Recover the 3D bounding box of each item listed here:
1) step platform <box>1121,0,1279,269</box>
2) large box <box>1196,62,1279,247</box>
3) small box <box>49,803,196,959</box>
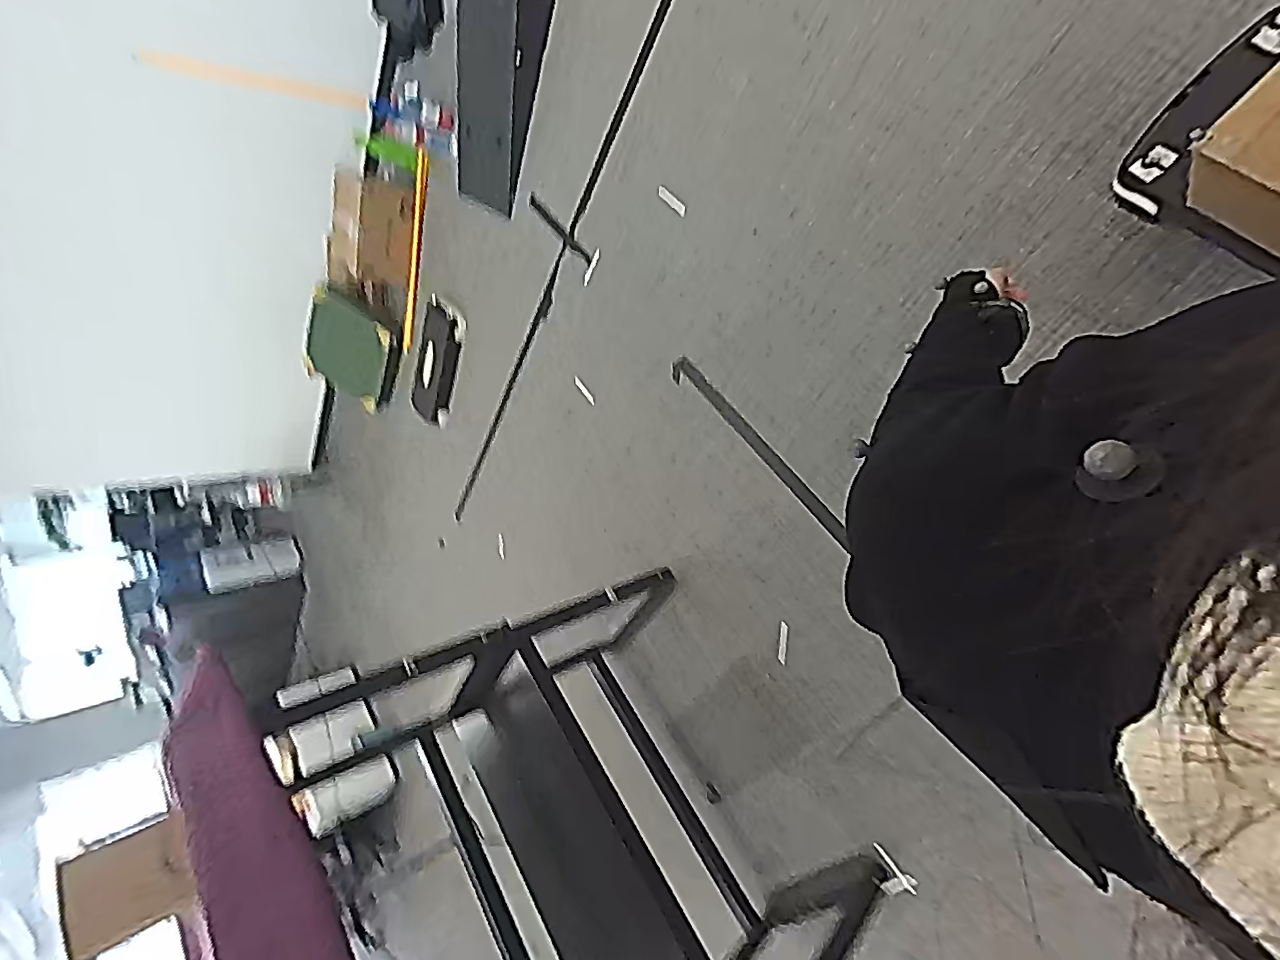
[{"bbox_3d":[1.132,-0.435,0.824,0.286,0.204,0.684,-49,63,38],"label":"step platform"},{"bbox_3d":[0.995,-0.403,0.627,0.408,0.320,0.320,54,129,25],"label":"large box"},{"bbox_3d":[-0.937,0.722,0.986,0.168,0.176,0.179,-50,63,38],"label":"small box"}]
